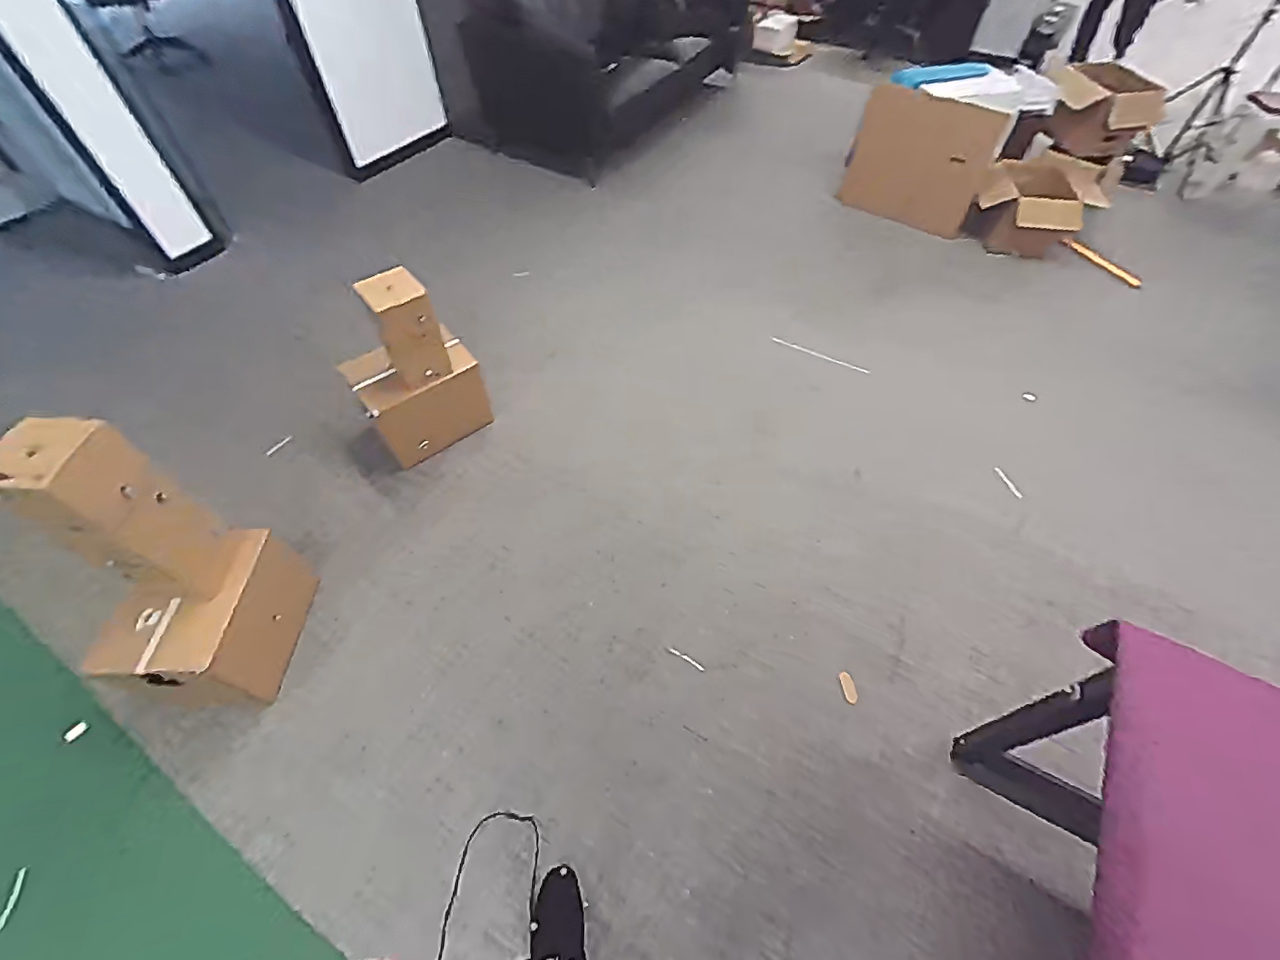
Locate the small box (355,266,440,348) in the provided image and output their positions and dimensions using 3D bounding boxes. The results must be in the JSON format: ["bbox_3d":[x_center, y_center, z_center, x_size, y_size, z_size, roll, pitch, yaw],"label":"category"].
[{"bbox_3d":[-0.763,-0.543,1.720,0.168,0.176,0.179,-33,61,-23],"label":"small box"}]

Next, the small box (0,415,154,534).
[{"bbox_3d":[-1.170,-0.011,1.115,0.168,0.176,0.179,3,53,2],"label":"small box"}]

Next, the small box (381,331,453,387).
[{"bbox_3d":[-0.768,-0.452,1.856,0.168,0.176,0.179,-32,62,-22],"label":"small box"}]

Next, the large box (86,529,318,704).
[{"bbox_3d":[-1.190,0.388,1.535,0.320,0.320,0.408,-2,55,0],"label":"large box"}]
